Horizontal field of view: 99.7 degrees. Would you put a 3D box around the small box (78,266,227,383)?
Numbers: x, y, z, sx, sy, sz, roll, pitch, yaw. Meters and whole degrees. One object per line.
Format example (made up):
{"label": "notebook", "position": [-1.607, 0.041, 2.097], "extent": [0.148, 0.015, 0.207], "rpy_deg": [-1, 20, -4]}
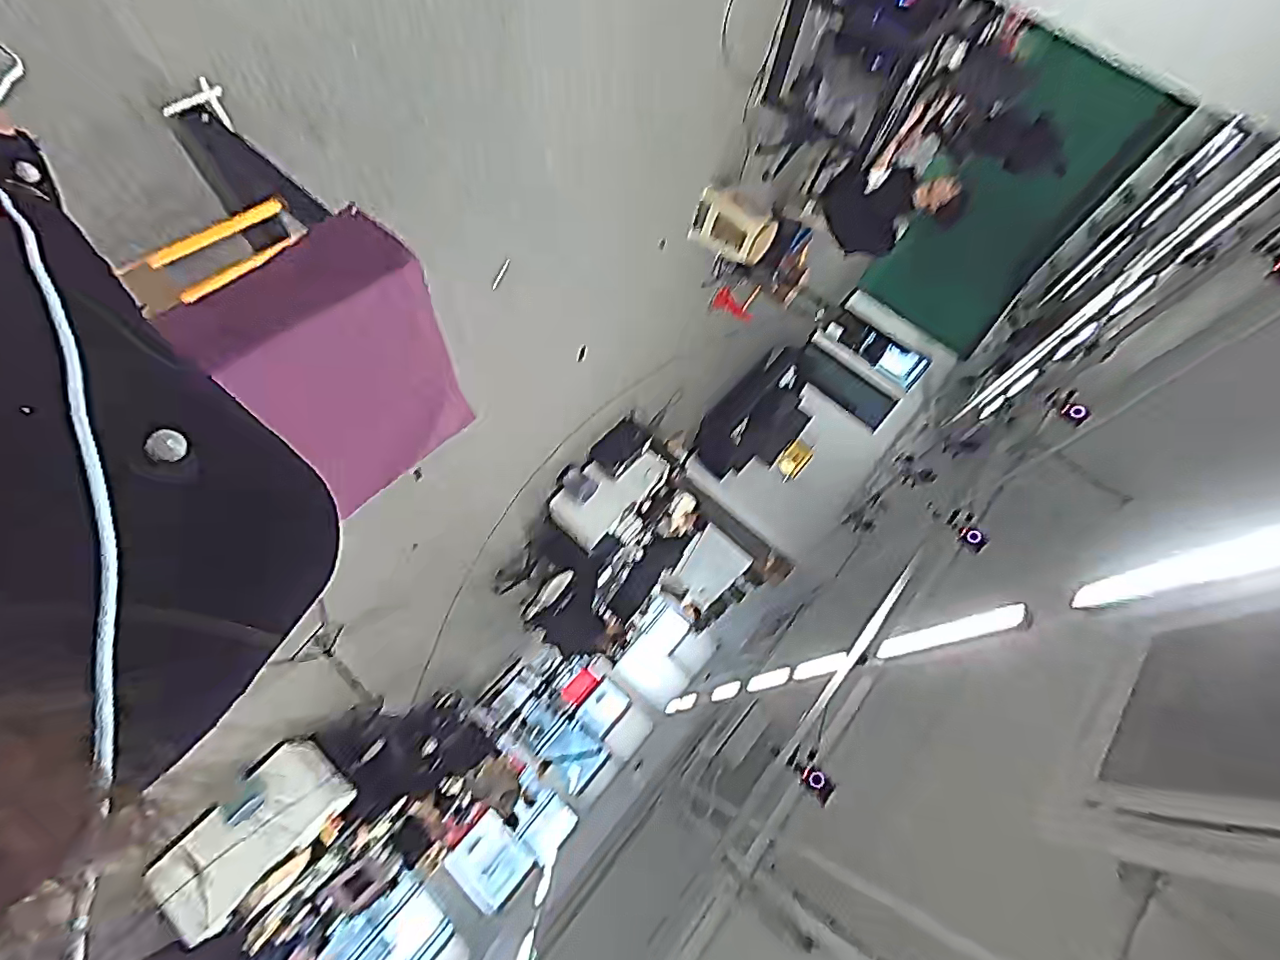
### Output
{"label": "small box", "position": [-1.164, -0.375, 1.297], "extent": [0.179, 0.176, 0.168], "rpy_deg": [-43, 167, -19]}
